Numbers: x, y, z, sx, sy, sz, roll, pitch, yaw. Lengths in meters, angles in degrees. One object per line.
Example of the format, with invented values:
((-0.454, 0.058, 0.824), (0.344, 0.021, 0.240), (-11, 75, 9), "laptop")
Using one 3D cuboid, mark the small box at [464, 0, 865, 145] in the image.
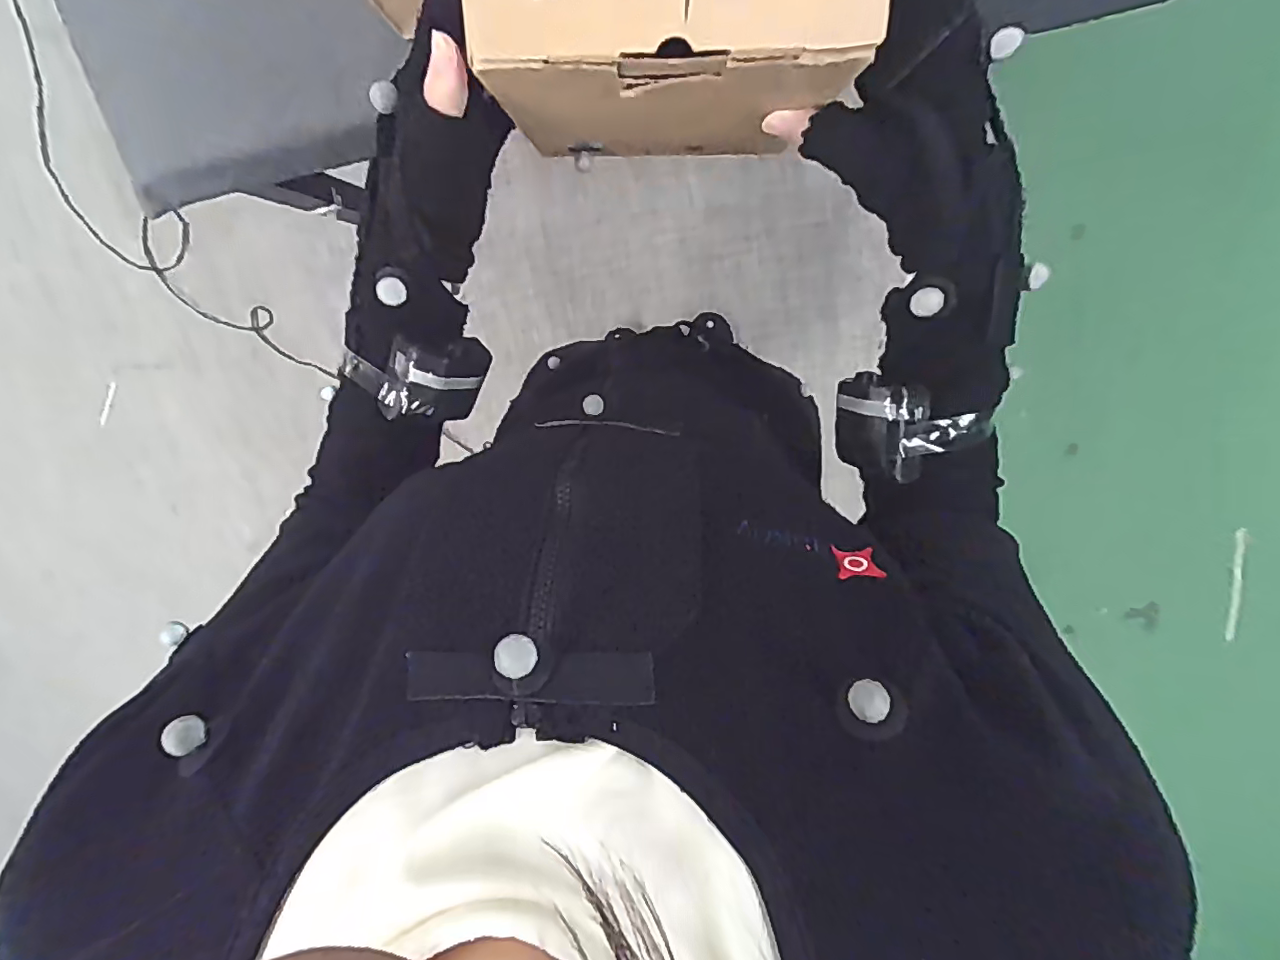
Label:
((0.012, -0.283, 0.270), (0.168, 0.176, 0.179), (0, 109, 1), "small box")
